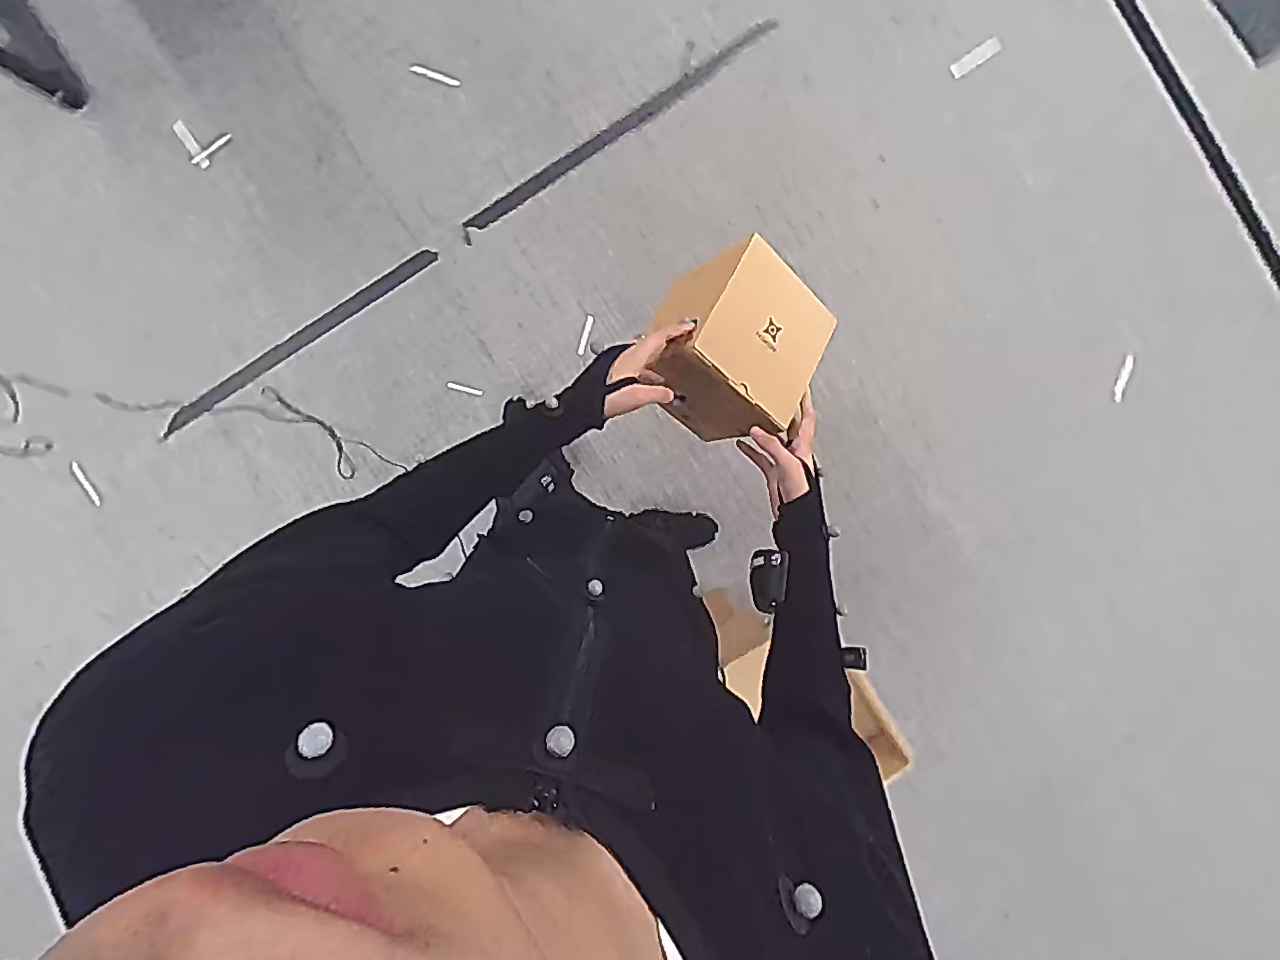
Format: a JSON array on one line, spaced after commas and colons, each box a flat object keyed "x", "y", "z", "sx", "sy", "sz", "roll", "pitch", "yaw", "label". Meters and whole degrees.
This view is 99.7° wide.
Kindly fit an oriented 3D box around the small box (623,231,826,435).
[{"x": 0.103, "y": -0.177, "z": 0.709, "sx": 0.168, "sy": 0.176, "sz": 0.179, "roll": 34, "pitch": 74, "yaw": -25, "label": "small box"}]
